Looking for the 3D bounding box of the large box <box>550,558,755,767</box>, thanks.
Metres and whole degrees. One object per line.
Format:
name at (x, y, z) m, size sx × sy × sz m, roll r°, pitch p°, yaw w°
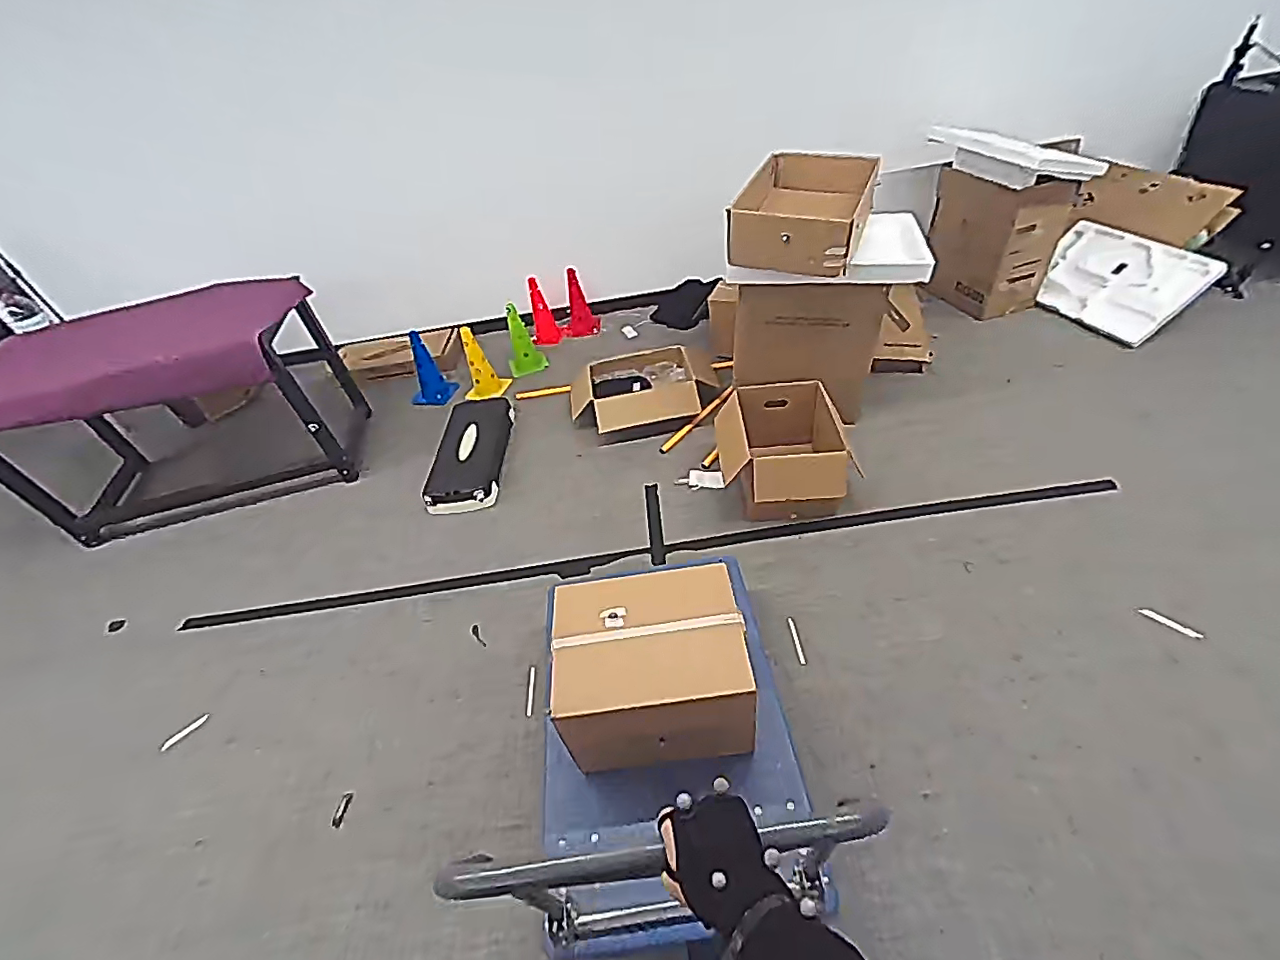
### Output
large box at (0.030, 0.423, 1.243) m, size 0.408 × 0.320 × 0.320 m, roll -10°, pitch 42°, yaw 2°
